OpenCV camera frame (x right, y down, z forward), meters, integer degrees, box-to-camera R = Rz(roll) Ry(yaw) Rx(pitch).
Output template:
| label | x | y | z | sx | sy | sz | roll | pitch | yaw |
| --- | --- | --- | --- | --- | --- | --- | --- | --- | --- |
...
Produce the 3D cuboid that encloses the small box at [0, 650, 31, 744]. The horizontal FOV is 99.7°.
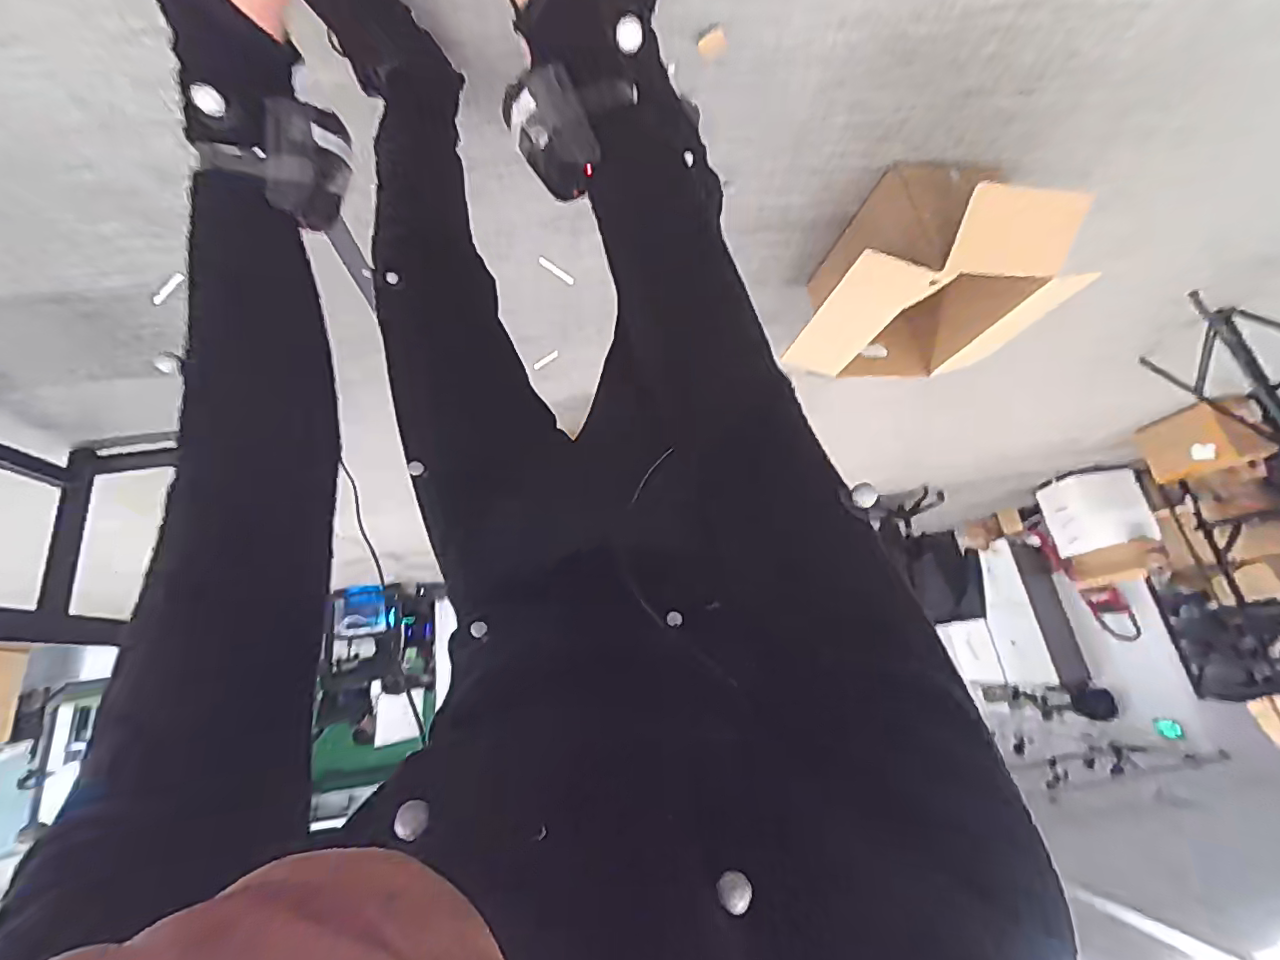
| label | x | y | z | sx | sy | sz | roll | pitch | yaw |
| --- | --- | --- | --- | --- | --- | --- | --- | --- | --- |
| small box | -1.275 | 0.404 | 0.975 | 0.168 | 0.176 | 0.179 | -2 | 160 | -18 |
